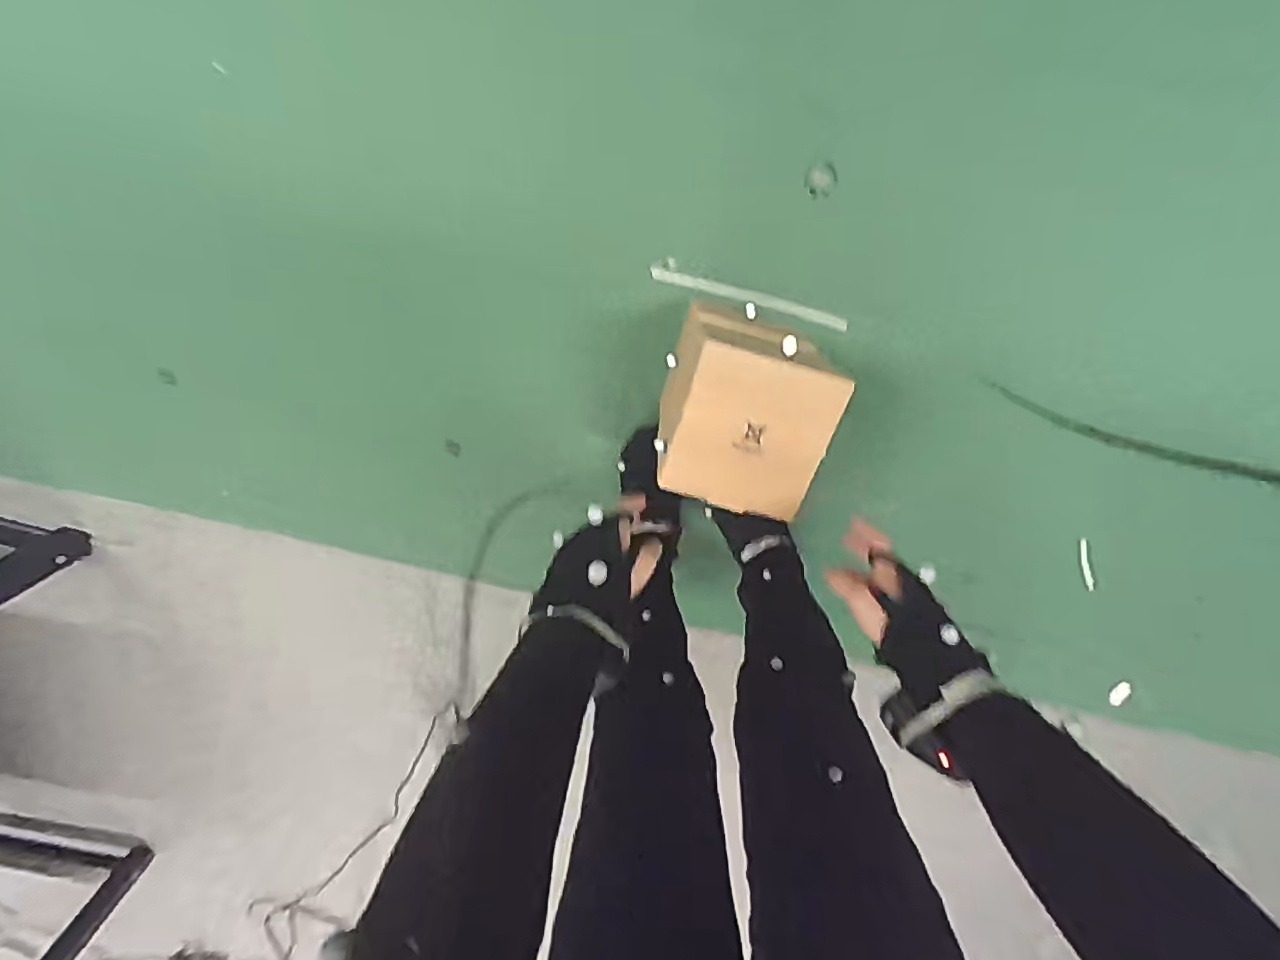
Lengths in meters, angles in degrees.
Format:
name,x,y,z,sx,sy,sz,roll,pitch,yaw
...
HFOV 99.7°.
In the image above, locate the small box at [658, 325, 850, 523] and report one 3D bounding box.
name,x,y,z,sx,sy,sz,roll,pitch,yaw
small box,0.122,-0.078,0.663,0.168,0.176,0.179,15,114,-4
